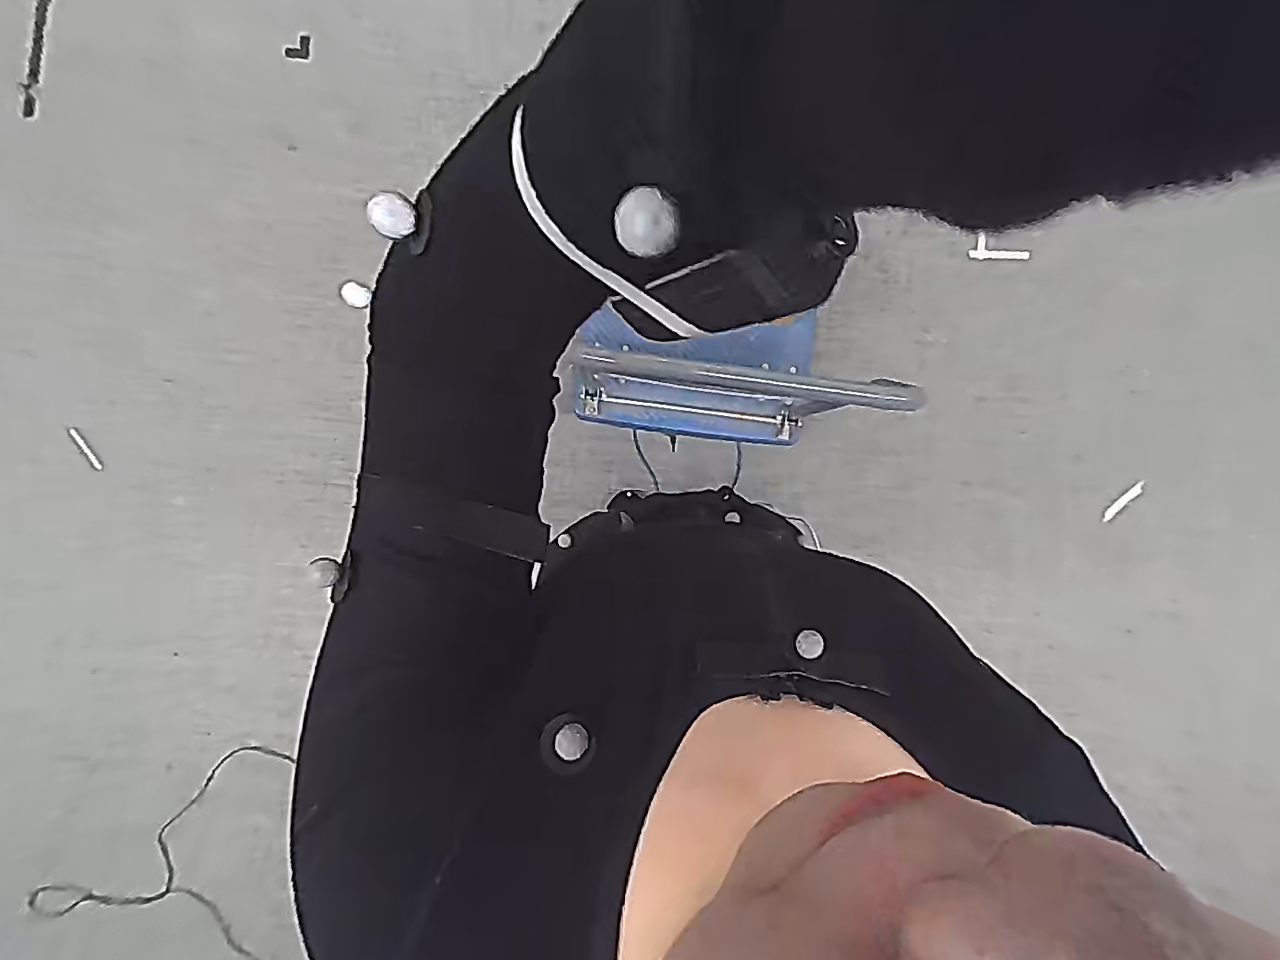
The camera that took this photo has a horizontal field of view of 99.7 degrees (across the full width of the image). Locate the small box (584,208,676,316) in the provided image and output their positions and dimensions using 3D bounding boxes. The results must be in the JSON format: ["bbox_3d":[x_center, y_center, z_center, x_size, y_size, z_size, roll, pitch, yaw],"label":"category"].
[{"bbox_3d":[-0.024,-0.504,1.275,0.179,0.176,0.168,13,88,-2],"label":"small box"}]

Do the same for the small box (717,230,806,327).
[{"bbox_3d":[0.280,-0.468,1.278,0.179,0.176,0.168,2,89,-1],"label":"small box"}]
